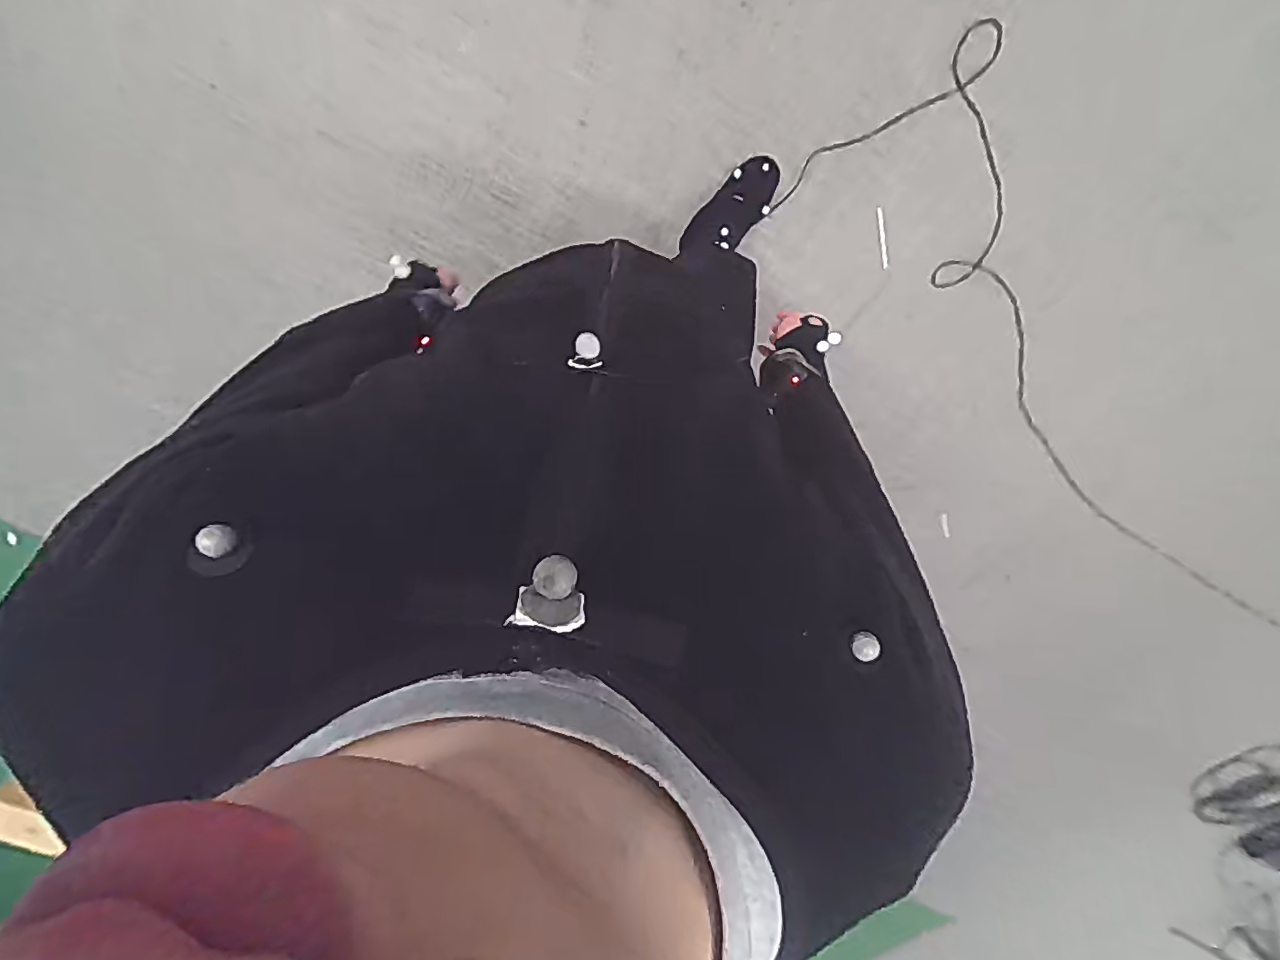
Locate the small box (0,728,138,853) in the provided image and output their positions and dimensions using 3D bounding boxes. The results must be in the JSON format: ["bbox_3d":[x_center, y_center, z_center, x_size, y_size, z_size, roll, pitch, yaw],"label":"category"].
[{"bbox_3d":[-1.321,0.710,1.248,0.179,0.176,0.168,28,115,-10],"label":"small box"}]
